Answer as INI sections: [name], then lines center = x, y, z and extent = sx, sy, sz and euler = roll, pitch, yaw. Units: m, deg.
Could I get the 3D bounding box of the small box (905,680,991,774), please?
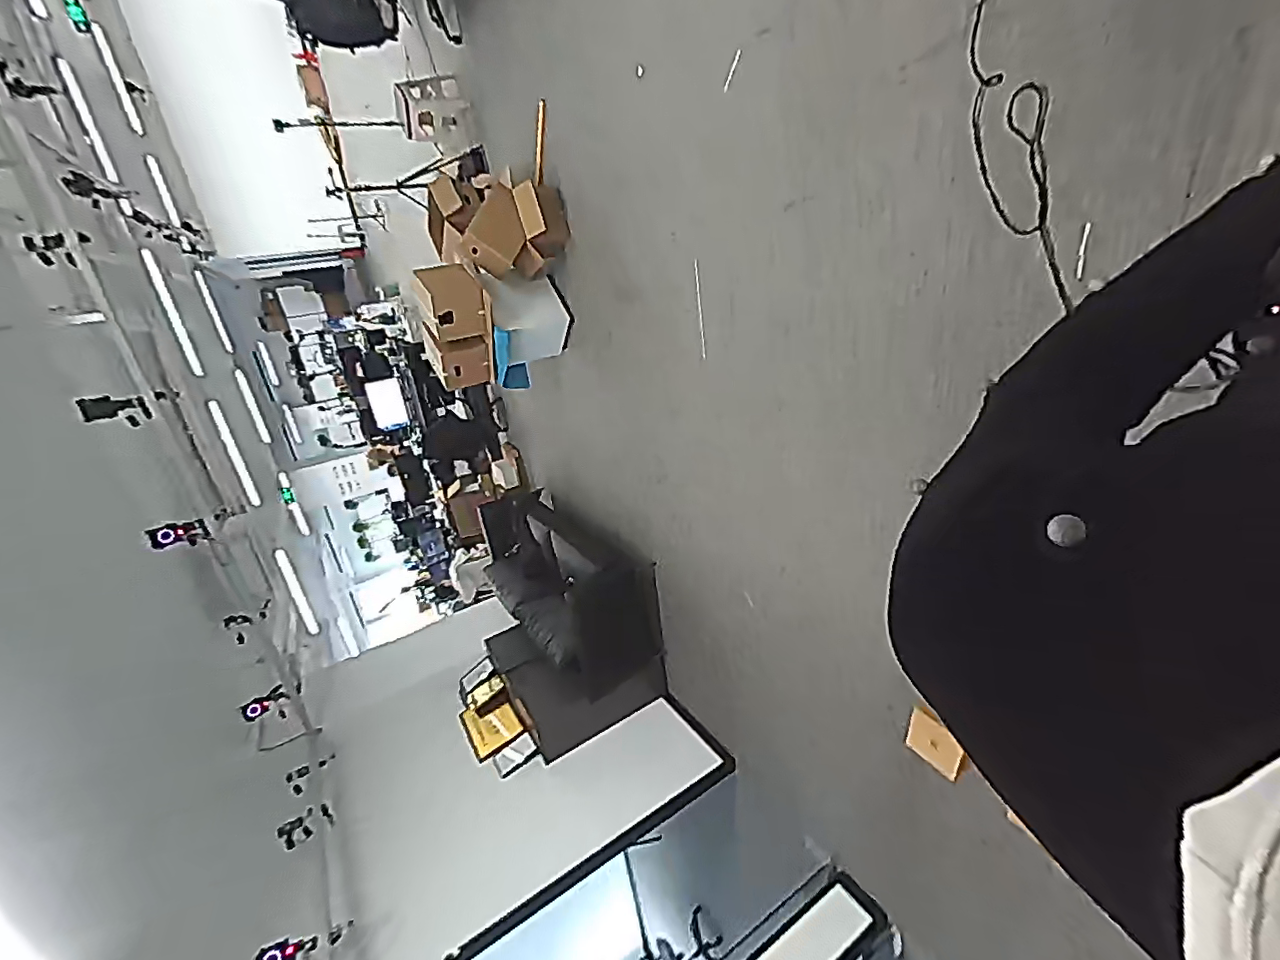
[small box]
center = 0.986, 0.785, 1.730
extent = 0.168, 0.176, 0.179
euler = 33, 135, 50
